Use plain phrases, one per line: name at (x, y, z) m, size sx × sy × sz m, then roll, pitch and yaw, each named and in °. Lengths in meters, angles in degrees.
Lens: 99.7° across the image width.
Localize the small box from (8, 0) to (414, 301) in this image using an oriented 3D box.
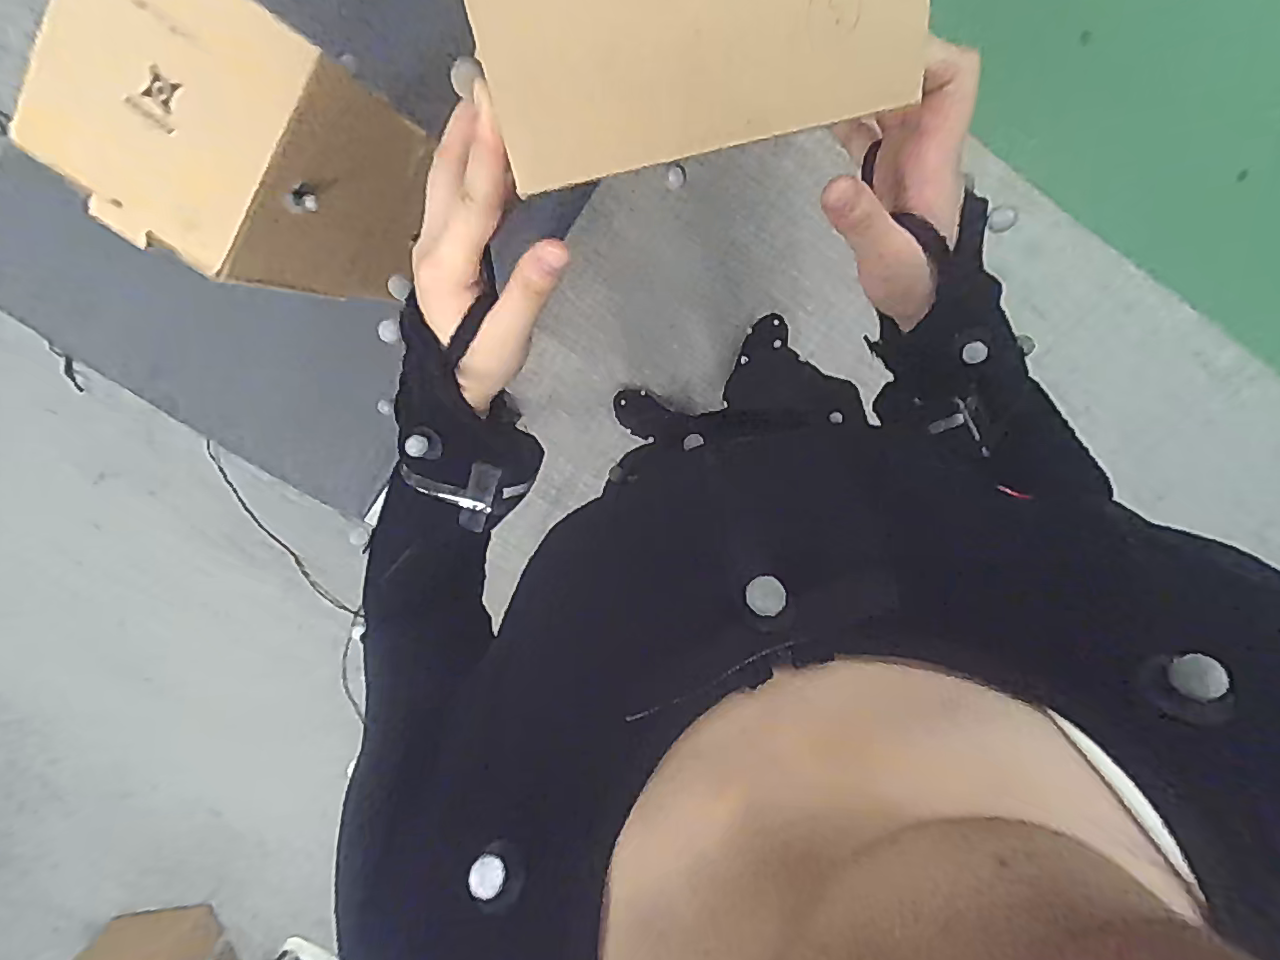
small box at (-0.318, -0.266, 0.439) m, size 0.168 × 0.176 × 0.179 m, roll 34°, pitch 103°, yaw -6°

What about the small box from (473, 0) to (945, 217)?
small box at (0.012, -0.234, 0.237) m, size 0.168 × 0.176 × 0.179 m, roll -13°, pitch 121°, yaw 0°

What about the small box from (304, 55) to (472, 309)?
small box at (-0.309, -0.310, 0.595) m, size 0.168 × 0.176 × 0.179 m, roll 34°, pitch 104°, yaw -5°
